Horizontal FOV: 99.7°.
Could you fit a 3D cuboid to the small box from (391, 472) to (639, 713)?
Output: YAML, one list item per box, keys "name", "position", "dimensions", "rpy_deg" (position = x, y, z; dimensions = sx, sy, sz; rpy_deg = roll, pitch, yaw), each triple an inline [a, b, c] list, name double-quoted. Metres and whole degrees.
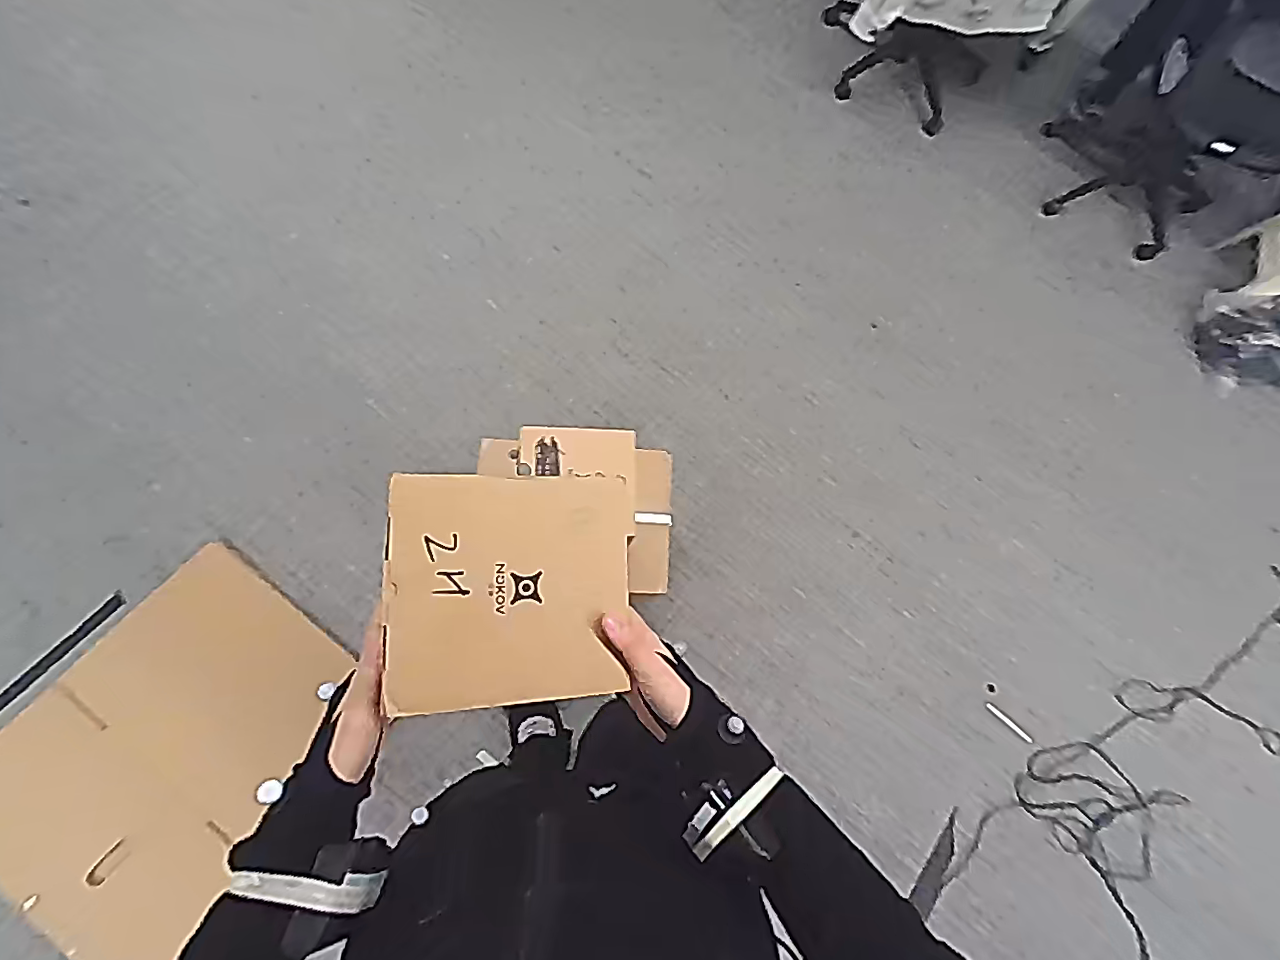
- name: "small box"
  position: [-0.110, 0.088, 0.470]
  dimensions: [0.179, 0.176, 0.168]
  rpy_deg: [1, 82, -18]

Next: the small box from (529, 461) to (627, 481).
- name: "small box"
  position: [-0.120, 0.068, 1.027]
  dimensions: [0.179, 0.176, 0.168]
  rpy_deg: [1, 74, -9]
